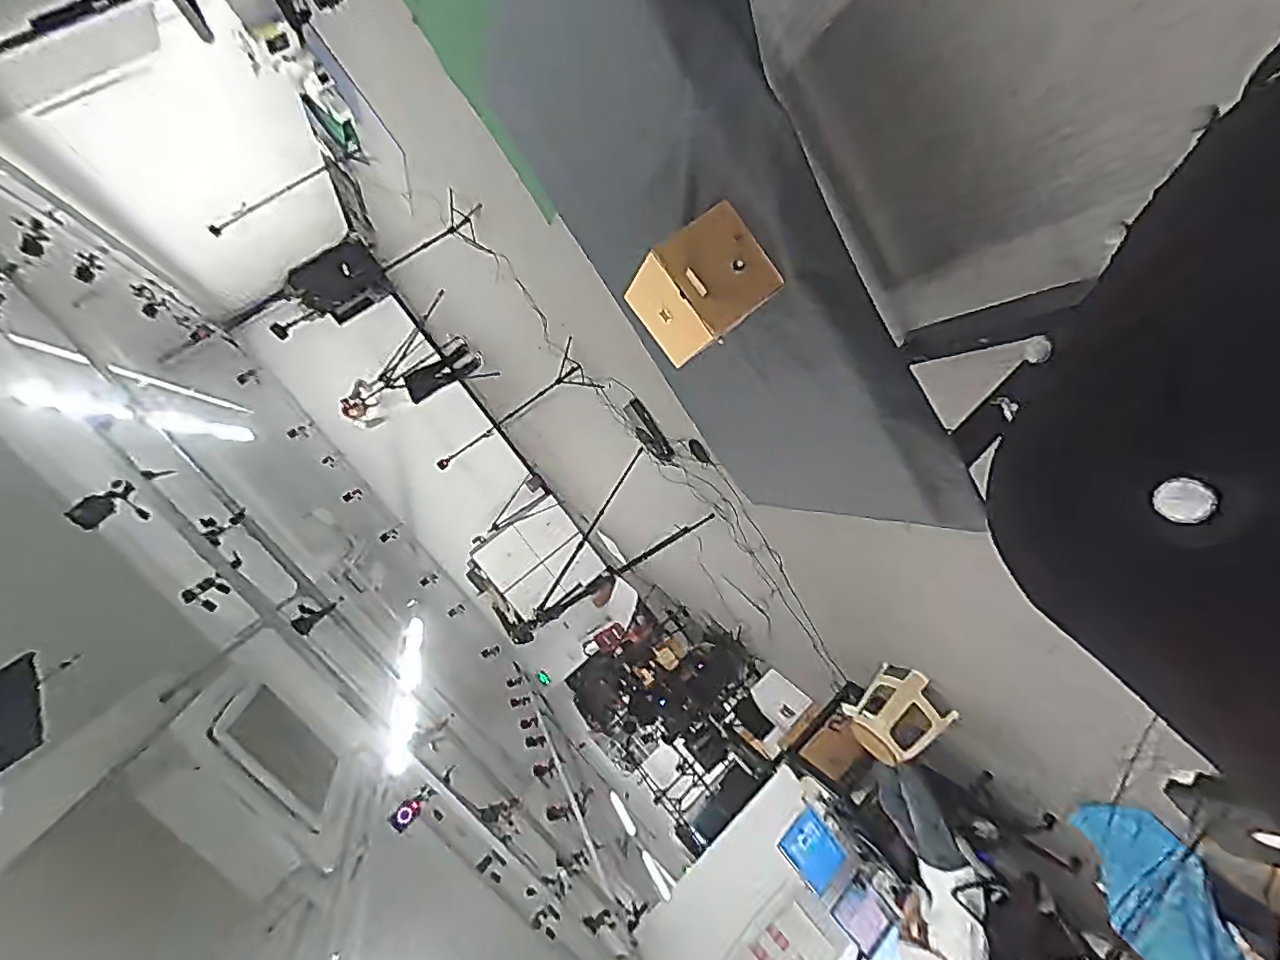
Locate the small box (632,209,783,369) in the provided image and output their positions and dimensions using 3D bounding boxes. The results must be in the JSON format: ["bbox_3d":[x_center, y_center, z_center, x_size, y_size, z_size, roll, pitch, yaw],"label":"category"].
[{"bbox_3d":[0.115,-0.326,0.943,0.168,0.176,0.179,52,165,-5],"label":"small box"}]
